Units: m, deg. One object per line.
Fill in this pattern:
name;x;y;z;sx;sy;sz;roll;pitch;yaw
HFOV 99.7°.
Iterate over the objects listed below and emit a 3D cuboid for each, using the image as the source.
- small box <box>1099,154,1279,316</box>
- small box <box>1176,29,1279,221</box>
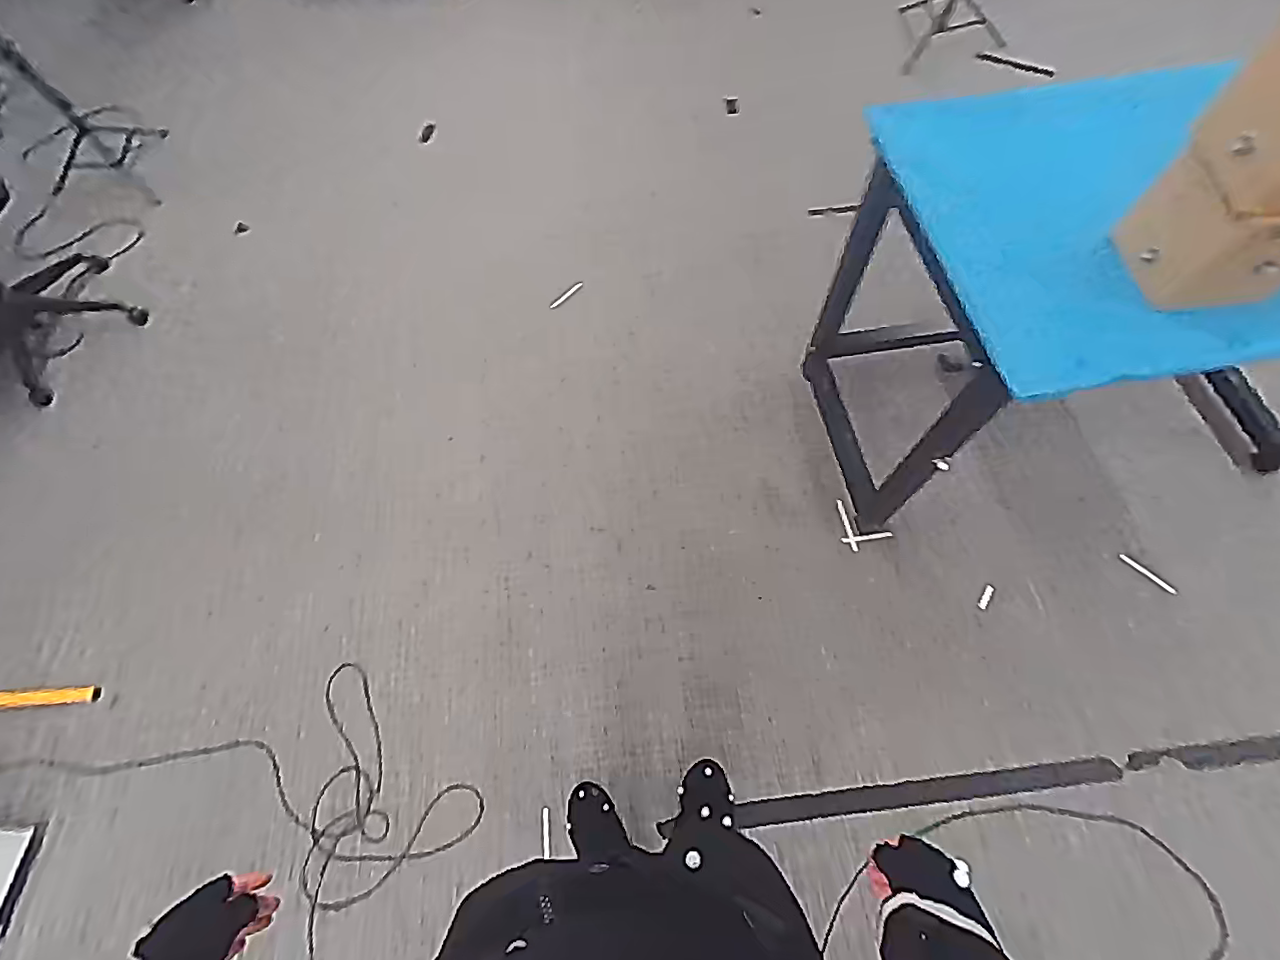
small box;0.869;-0.377;0.817;0.168;0.176;0.179;-4;65;0
small box;0.853;-0.456;0.672;0.168;0.176;0.179;0;67;2
